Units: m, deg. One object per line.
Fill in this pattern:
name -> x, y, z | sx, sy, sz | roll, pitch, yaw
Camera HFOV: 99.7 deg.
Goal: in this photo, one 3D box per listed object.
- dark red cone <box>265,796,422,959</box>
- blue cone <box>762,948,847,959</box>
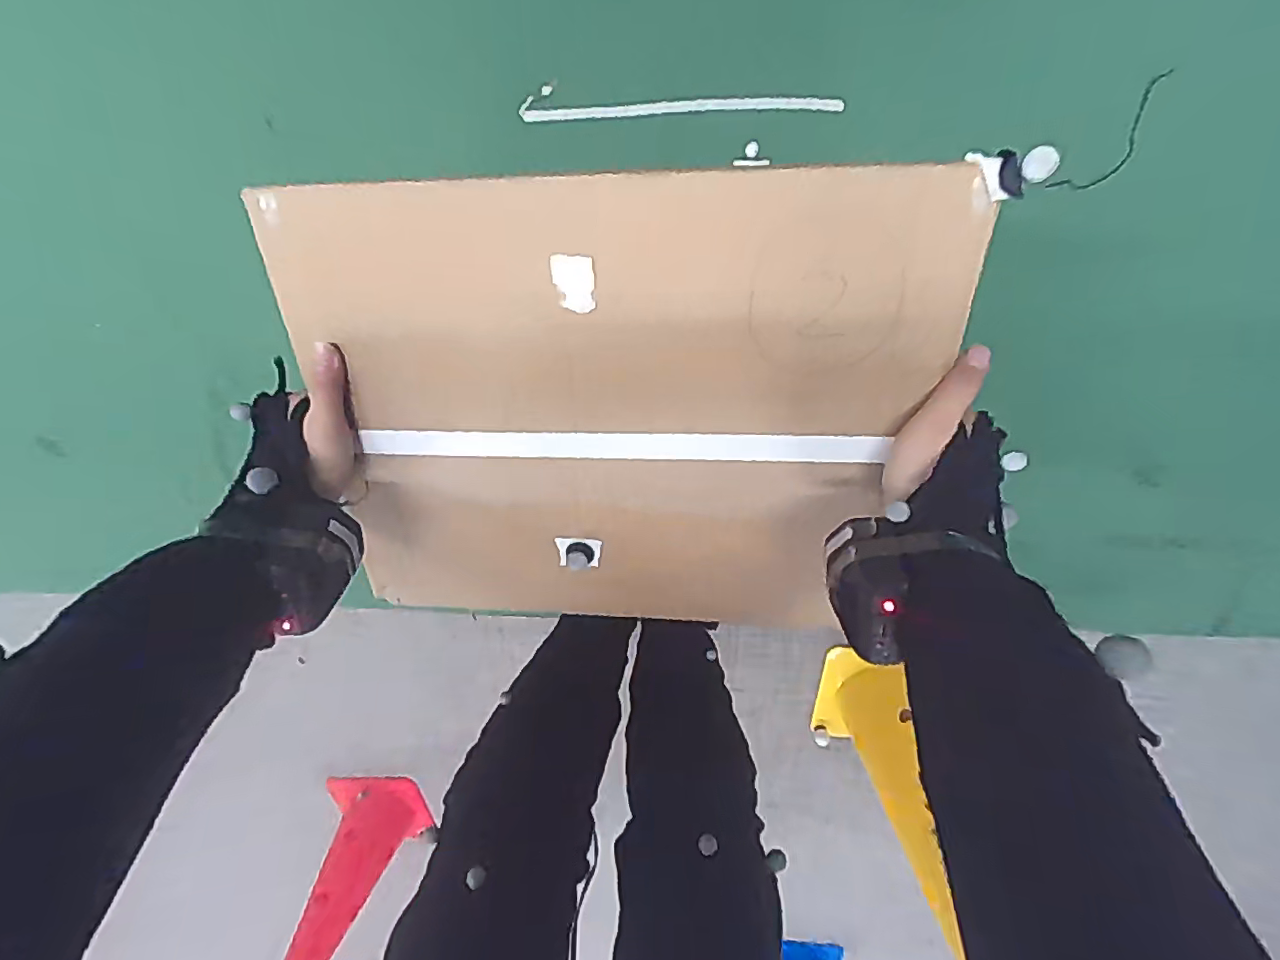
dark red cone -> -0.568, 0.773, 0.942 | 0.202, 0.394, 0.201 | -6, 113, 9
blue cone -> 0.362, 1.208, 1.103 | 0.192, 0.380, 0.193 | 1, 117, 5
